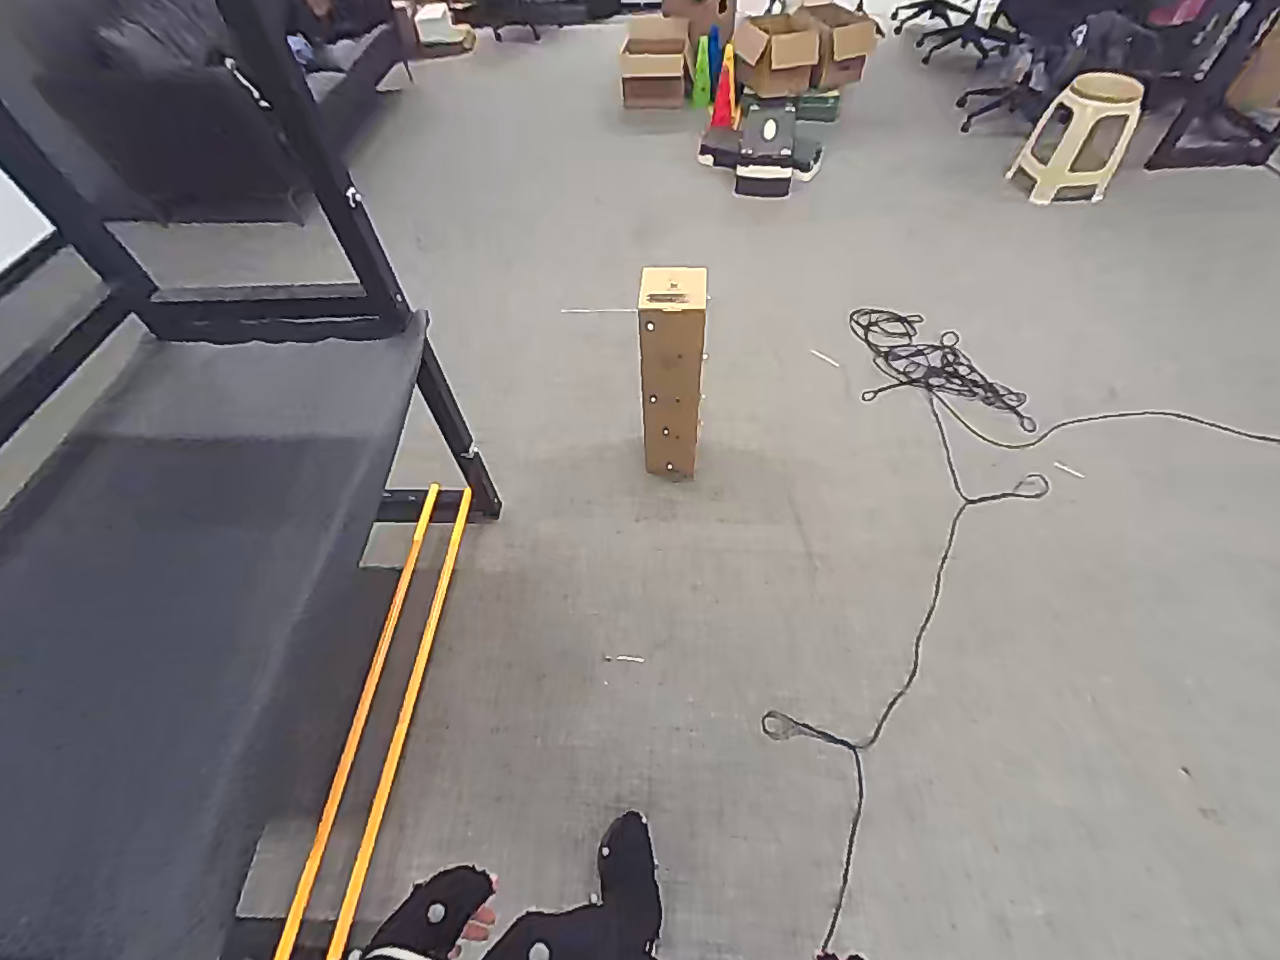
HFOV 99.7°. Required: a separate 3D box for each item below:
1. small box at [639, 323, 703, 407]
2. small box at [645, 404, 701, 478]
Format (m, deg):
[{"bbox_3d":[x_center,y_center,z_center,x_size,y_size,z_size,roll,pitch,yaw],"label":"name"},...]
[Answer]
[{"bbox_3d":[0.092,-0.326,1.548,0.168,0.176,0.179,4,53,6],"label":"small box"},{"bbox_3d":[0.110,-0.131,1.809,0.168,0.176,0.179,5,54,8],"label":"small box"}]
